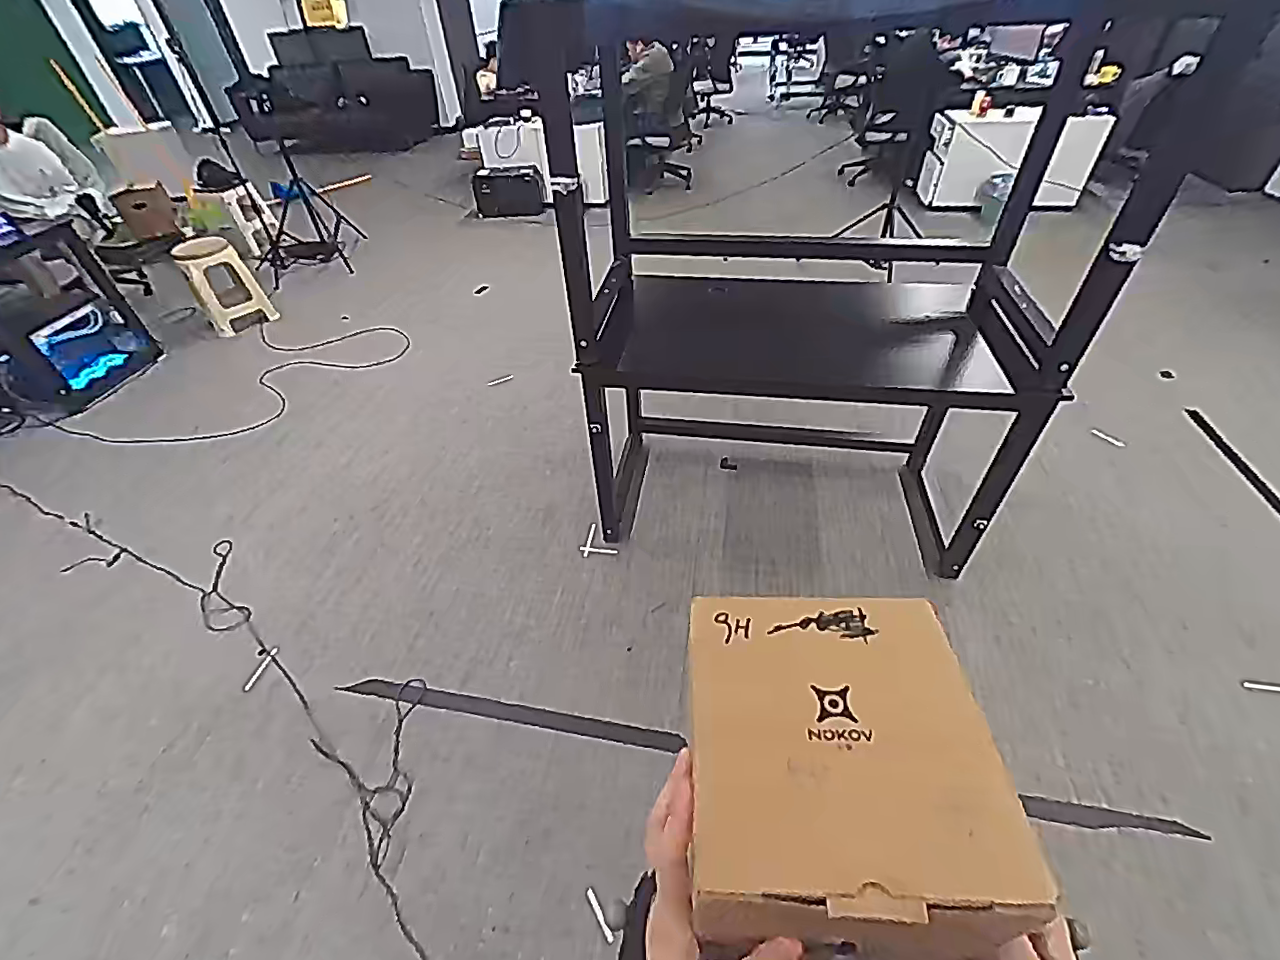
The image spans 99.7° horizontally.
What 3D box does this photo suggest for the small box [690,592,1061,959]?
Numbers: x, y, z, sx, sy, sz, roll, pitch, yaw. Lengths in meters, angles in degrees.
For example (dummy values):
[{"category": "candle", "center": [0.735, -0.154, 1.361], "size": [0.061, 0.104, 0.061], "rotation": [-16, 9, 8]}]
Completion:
[{"category": "small box", "center": [0.118, 0.196, 0.360], "size": [0.168, 0.176, 0.179], "rotation": [0, 40, 4]}]
